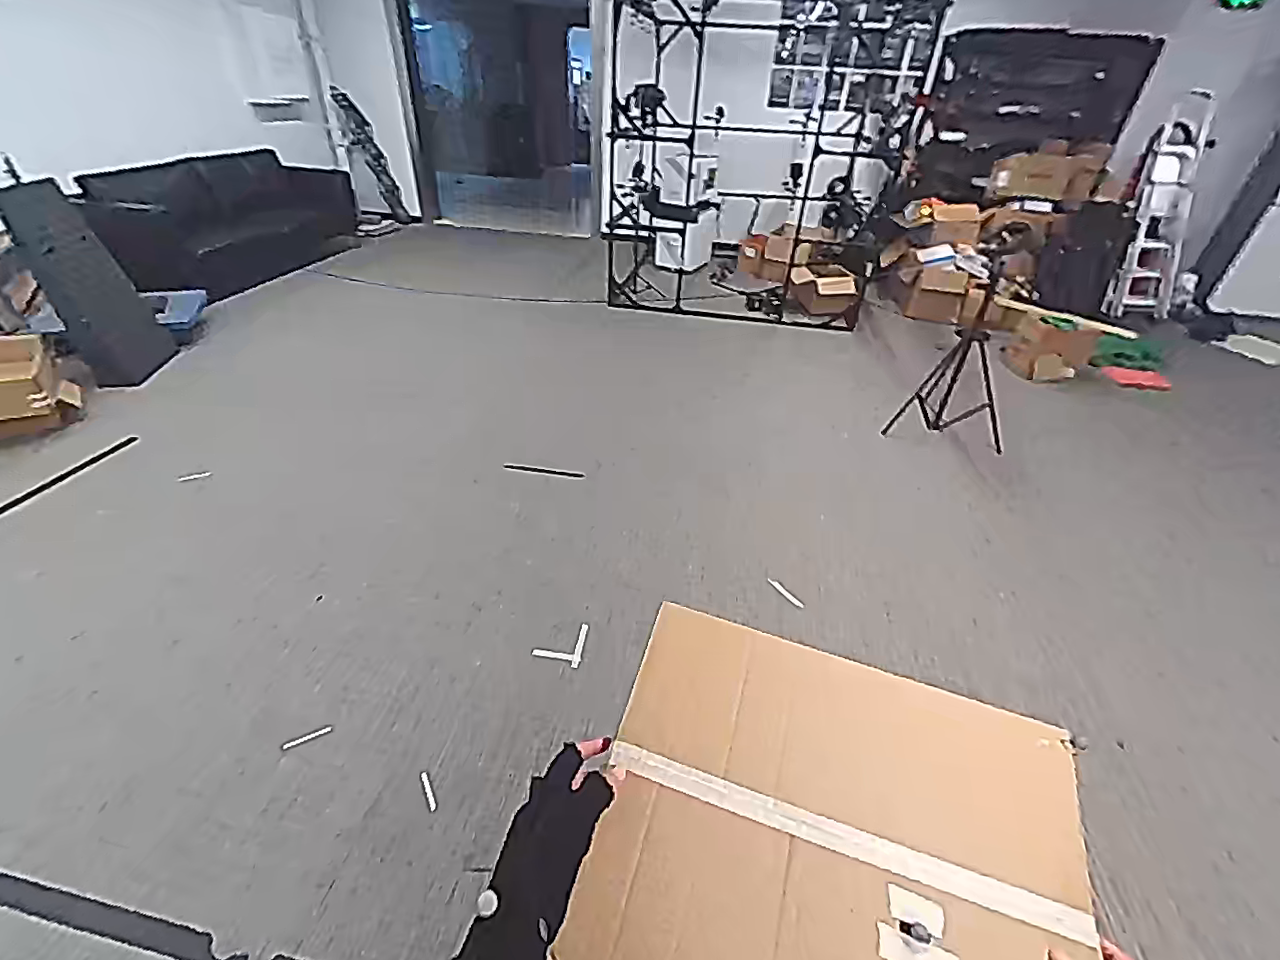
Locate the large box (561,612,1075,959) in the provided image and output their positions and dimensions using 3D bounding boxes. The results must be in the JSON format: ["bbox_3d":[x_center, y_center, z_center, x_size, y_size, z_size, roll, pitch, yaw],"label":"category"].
[{"bbox_3d":[0.164,0.399,0.601,0.408,0.320,0.320,16,56,10],"label":"large box"}]
